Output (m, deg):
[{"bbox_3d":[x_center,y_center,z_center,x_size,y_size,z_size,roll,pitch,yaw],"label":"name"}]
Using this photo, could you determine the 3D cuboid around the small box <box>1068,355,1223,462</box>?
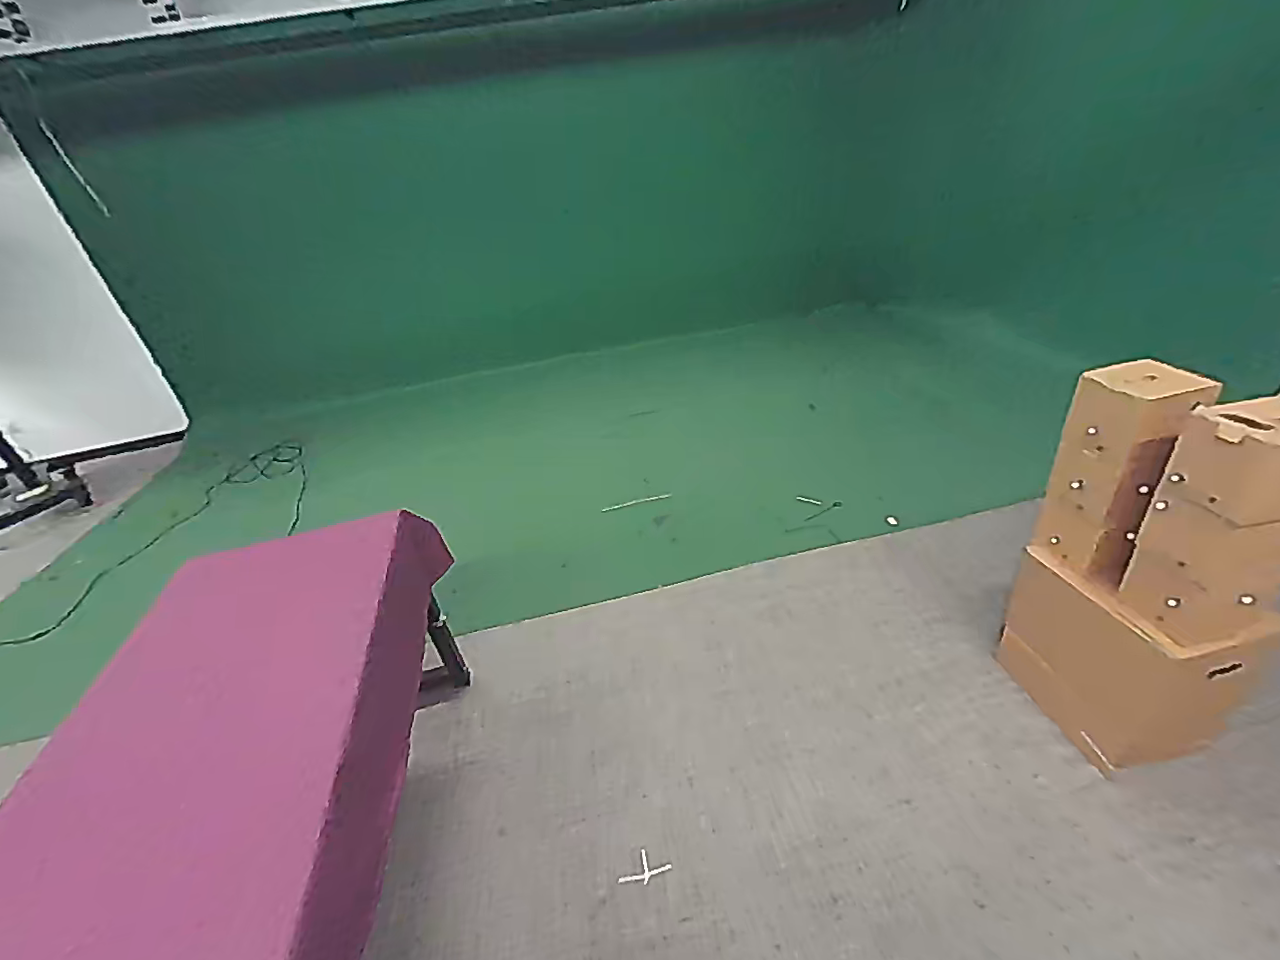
[{"bbox_3d":[1.125,-0.163,1.224,0.179,0.176,0.168,-13,32,-3],"label":"small box"}]

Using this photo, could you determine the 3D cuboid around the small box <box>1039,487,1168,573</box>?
[{"bbox_3d":[1.181,0.113,1.396,0.179,0.176,0.168,-14,32,-4],"label":"small box"}]

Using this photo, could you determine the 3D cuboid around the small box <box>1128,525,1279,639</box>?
[{"bbox_3d":[1.236,0.226,1.194,0.179,0.176,0.168,-11,31,-2],"label":"small box"}]

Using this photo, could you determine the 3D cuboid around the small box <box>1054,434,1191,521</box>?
[{"bbox_3d":[1.149,-0.022,1.309,0.179,0.176,0.168,-14,33,-2],"label":"small box"}]
